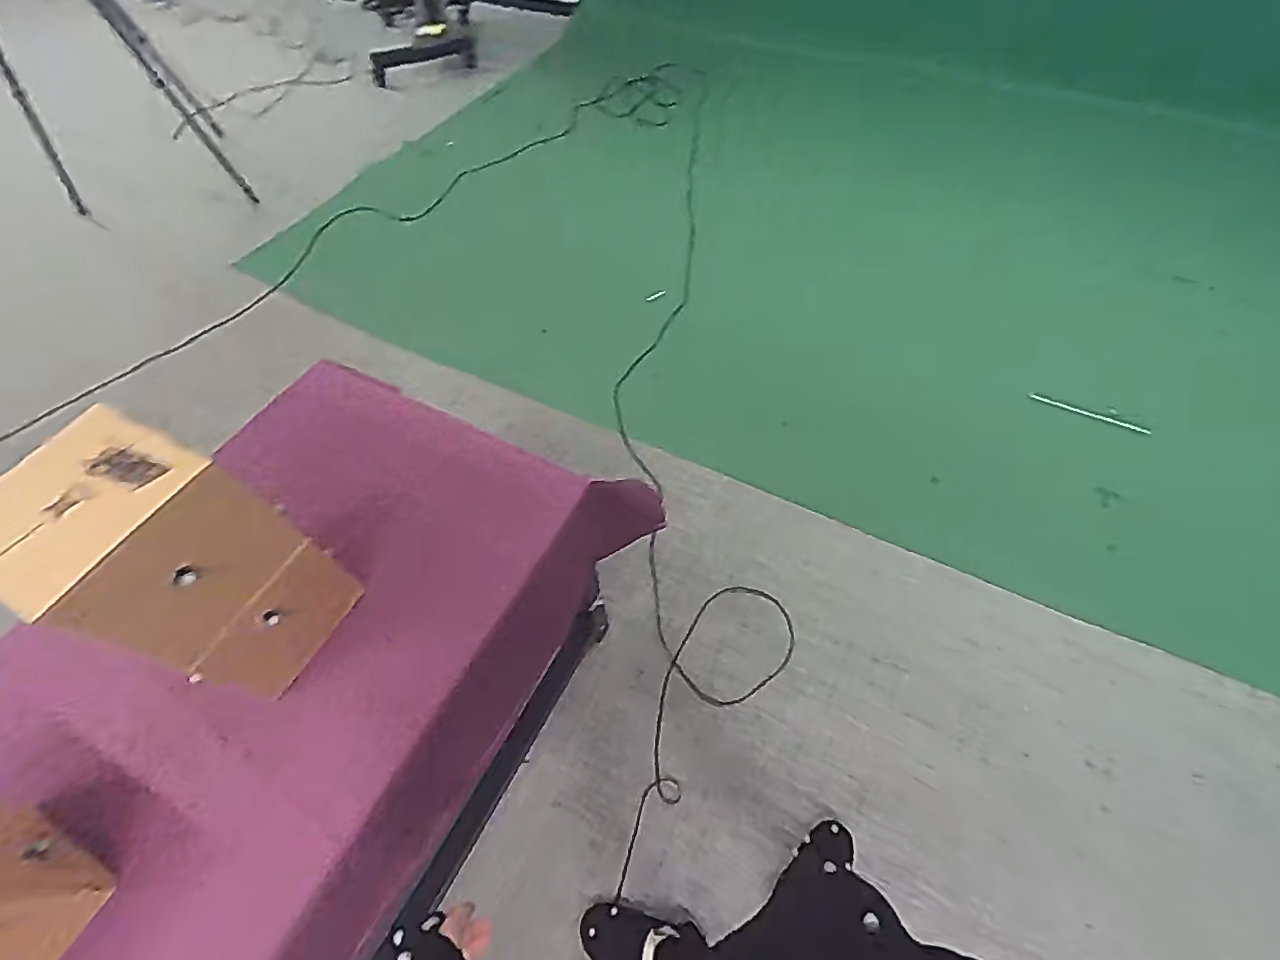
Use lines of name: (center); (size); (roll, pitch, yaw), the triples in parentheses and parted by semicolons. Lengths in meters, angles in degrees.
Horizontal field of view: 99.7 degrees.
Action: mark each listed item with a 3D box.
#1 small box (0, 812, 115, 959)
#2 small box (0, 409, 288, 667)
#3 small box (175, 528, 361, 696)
small box: (-0.690, 0.448, 0.519); (0.168, 0.176, 0.179); (21, 60, 15)
small box: (-0.512, 0.064, 0.560); (0.168, 0.176, 0.179); (22, 62, 15)
small box: (-0.506, 0.152, 0.699); (0.168, 0.176, 0.179); (23, 61, 15)
